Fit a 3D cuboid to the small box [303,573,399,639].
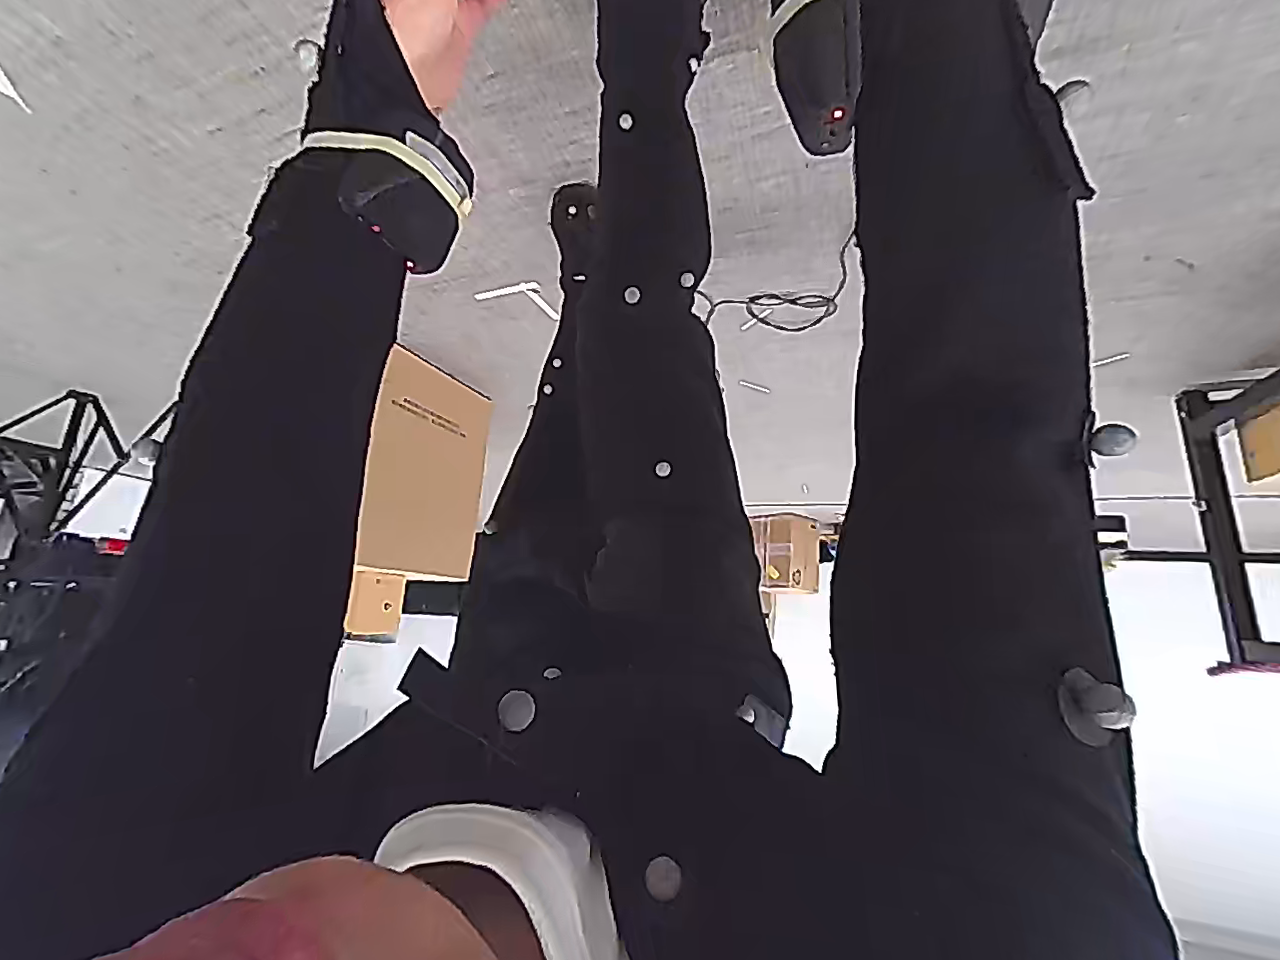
[{"bbox_3d":[-0.805,0.353,1.524,0.179,0.176,0.168,-2,165,20],"label":"small box"}]
